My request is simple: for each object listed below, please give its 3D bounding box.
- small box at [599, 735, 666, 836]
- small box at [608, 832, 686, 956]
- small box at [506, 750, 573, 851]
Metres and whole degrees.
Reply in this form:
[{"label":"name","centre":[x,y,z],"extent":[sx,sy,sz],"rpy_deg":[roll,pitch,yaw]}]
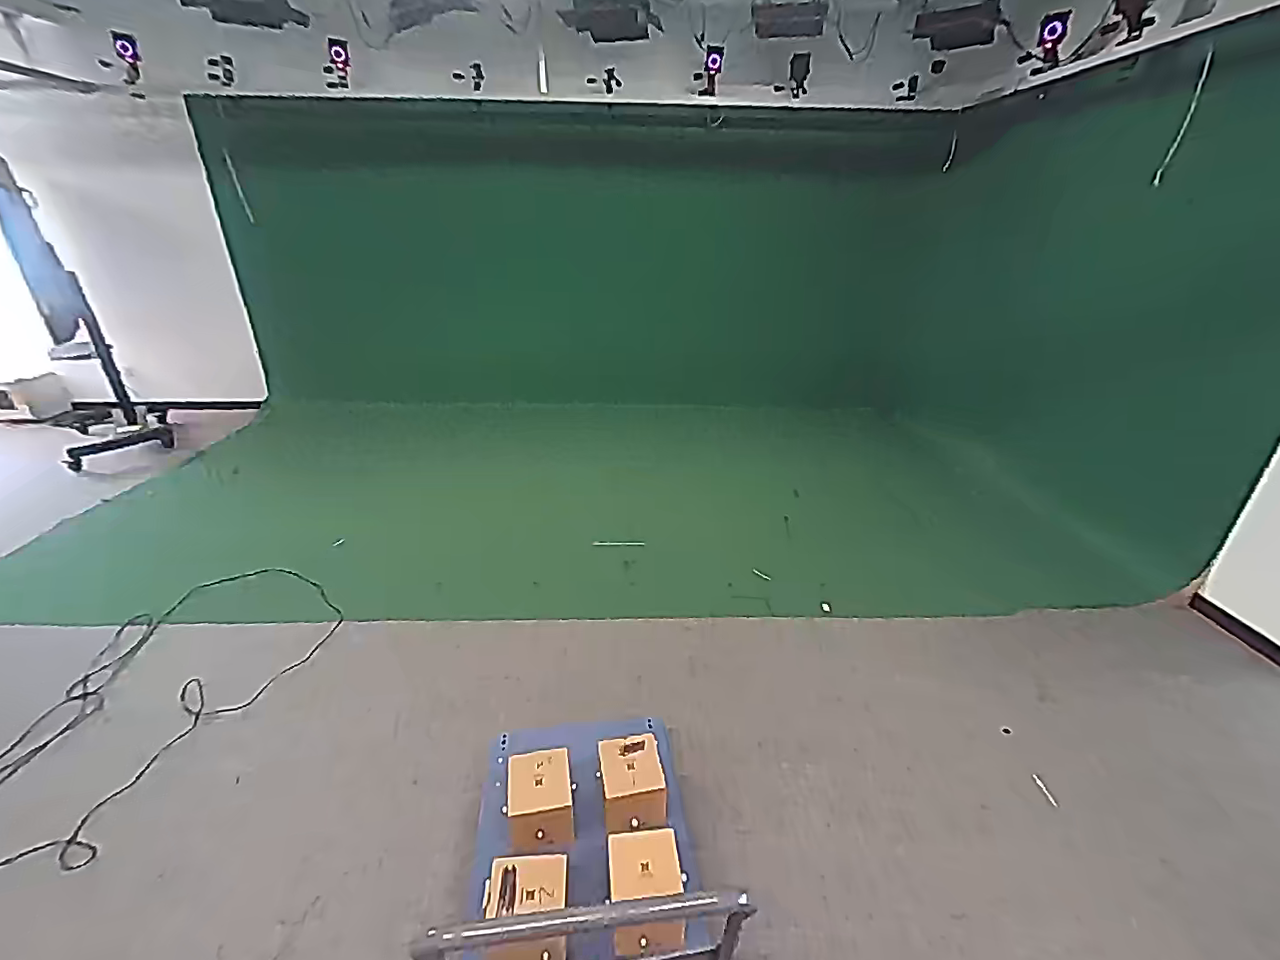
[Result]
[{"label":"small box","centre":[-0.027,0.863,1.530],"extent":[0.168,0.176,0.179],"rpy_deg":[-5,28,-10]},{"label":"small box","centre":[0.009,0.984,1.292],"extent":[0.168,0.176,0.179],"rpy_deg":[-2,27,-7]},{"label":"small box","centre":[-0.274,0.882,1.483],"extent":[0.168,0.176,0.179],"rpy_deg":[-3,27,-11]}]
